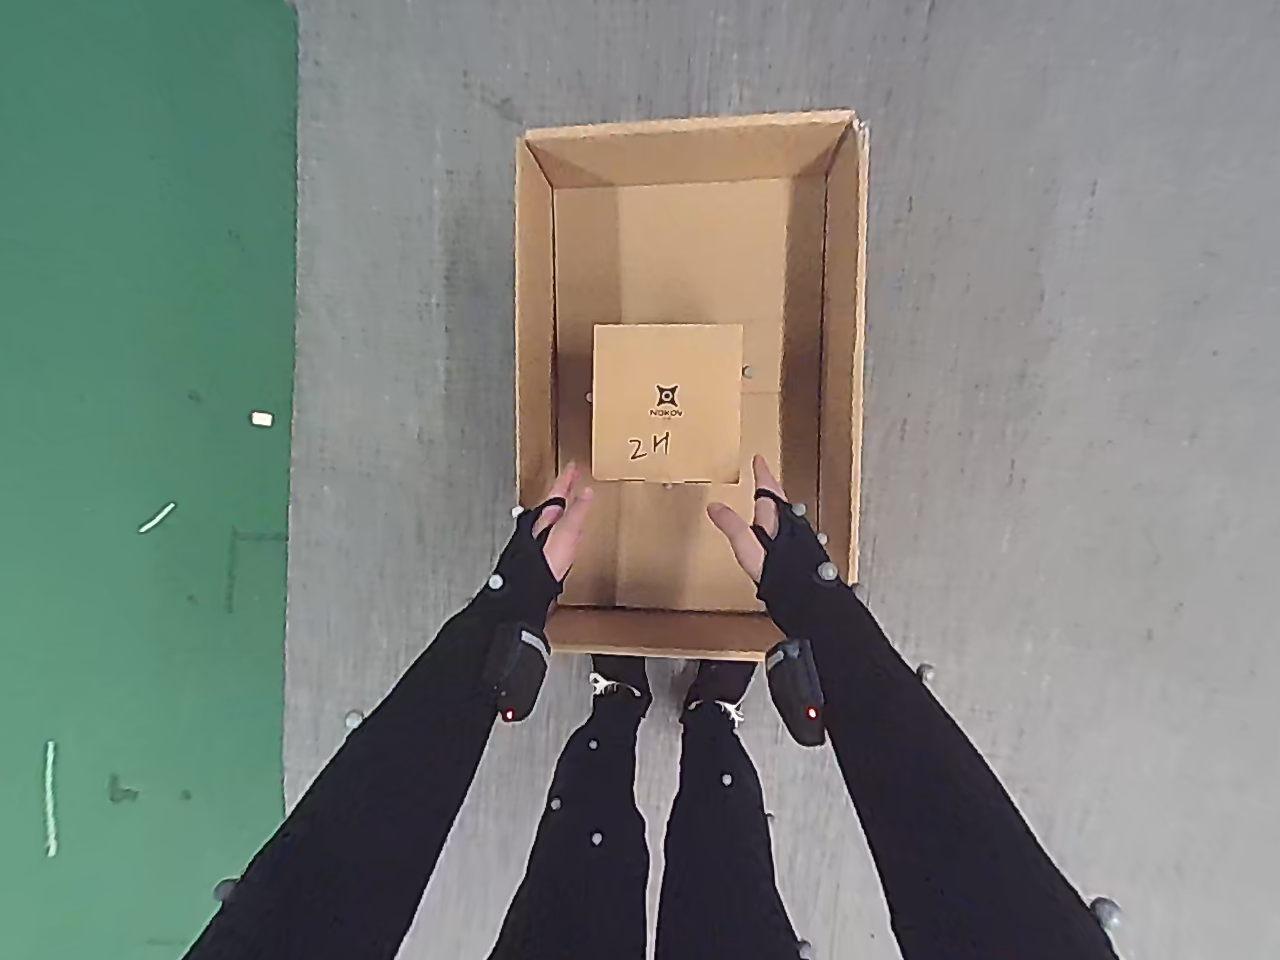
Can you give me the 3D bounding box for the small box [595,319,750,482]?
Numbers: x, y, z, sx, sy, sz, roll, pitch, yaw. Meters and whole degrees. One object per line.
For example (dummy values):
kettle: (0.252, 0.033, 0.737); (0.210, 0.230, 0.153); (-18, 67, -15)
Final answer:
small box: (0.041, -0.091, 0.669); (0.168, 0.176, 0.179); (2, 94, 6)
